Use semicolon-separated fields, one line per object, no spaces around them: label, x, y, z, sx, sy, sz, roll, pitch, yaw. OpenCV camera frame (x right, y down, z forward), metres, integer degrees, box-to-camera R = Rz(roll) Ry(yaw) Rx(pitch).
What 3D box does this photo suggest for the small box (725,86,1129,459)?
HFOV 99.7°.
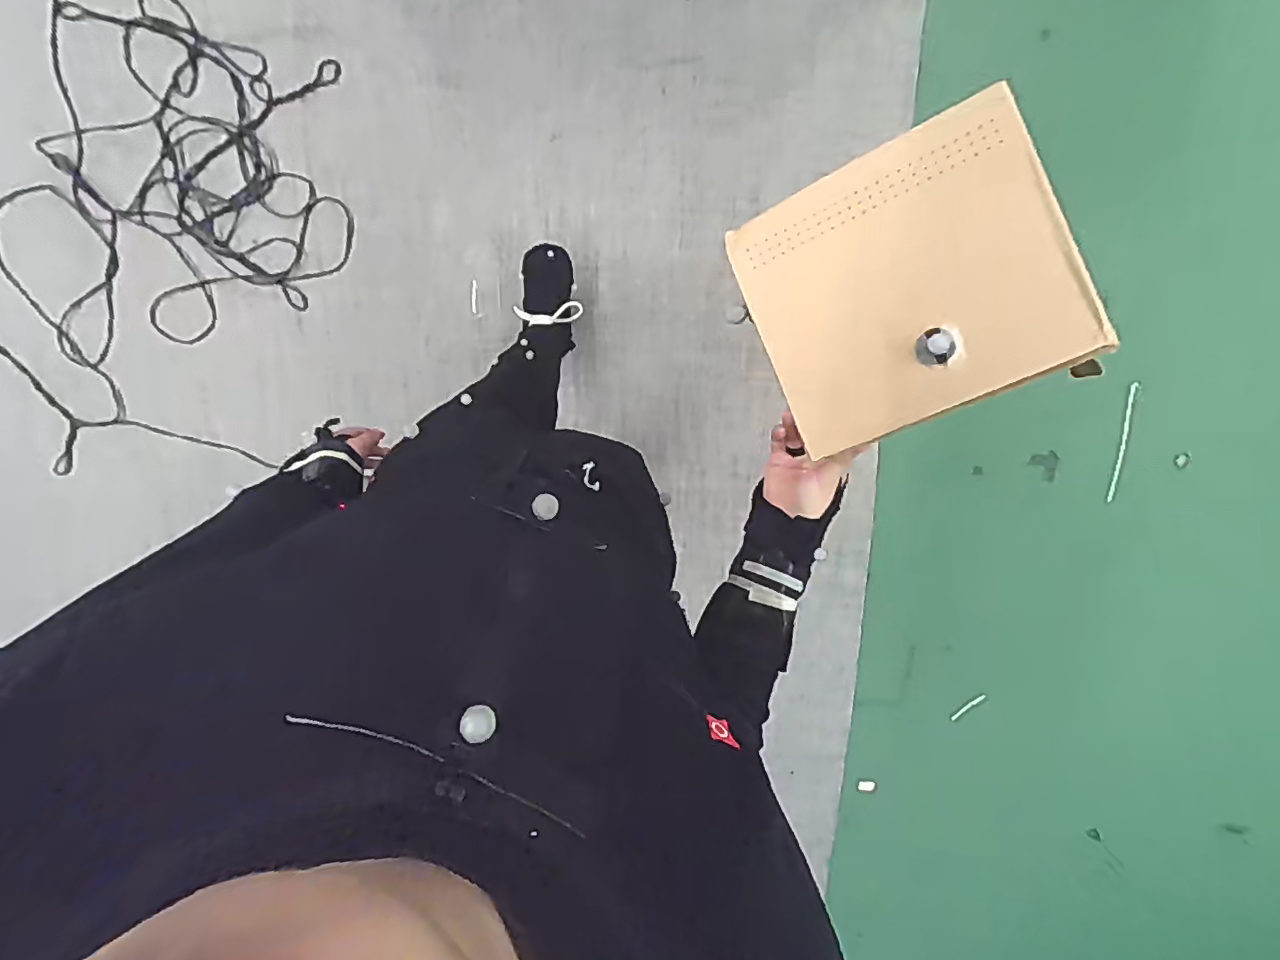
small box;0.182;-0.128;0.394;0.179;0.168;0.176;-22;87;19
